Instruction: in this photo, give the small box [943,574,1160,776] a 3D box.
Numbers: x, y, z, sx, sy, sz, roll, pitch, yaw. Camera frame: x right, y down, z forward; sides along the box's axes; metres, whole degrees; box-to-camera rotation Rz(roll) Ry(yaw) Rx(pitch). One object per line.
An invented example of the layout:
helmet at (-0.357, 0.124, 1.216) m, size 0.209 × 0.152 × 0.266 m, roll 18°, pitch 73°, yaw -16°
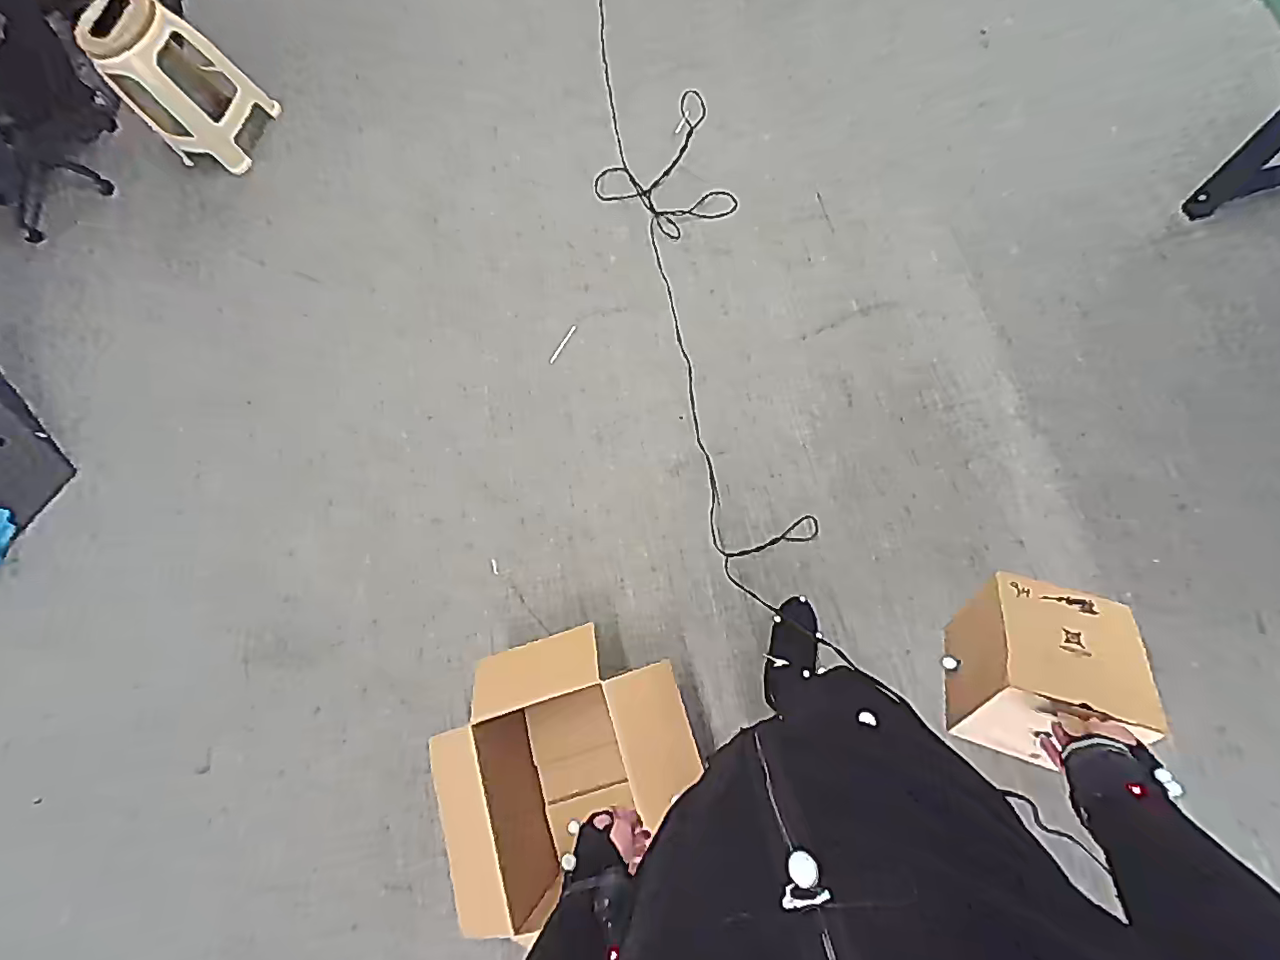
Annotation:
small box at (0.527, 0.263, 0.725) m, size 0.168 × 0.176 × 0.179 m, roll 17°, pitch 48°, yaw 13°
